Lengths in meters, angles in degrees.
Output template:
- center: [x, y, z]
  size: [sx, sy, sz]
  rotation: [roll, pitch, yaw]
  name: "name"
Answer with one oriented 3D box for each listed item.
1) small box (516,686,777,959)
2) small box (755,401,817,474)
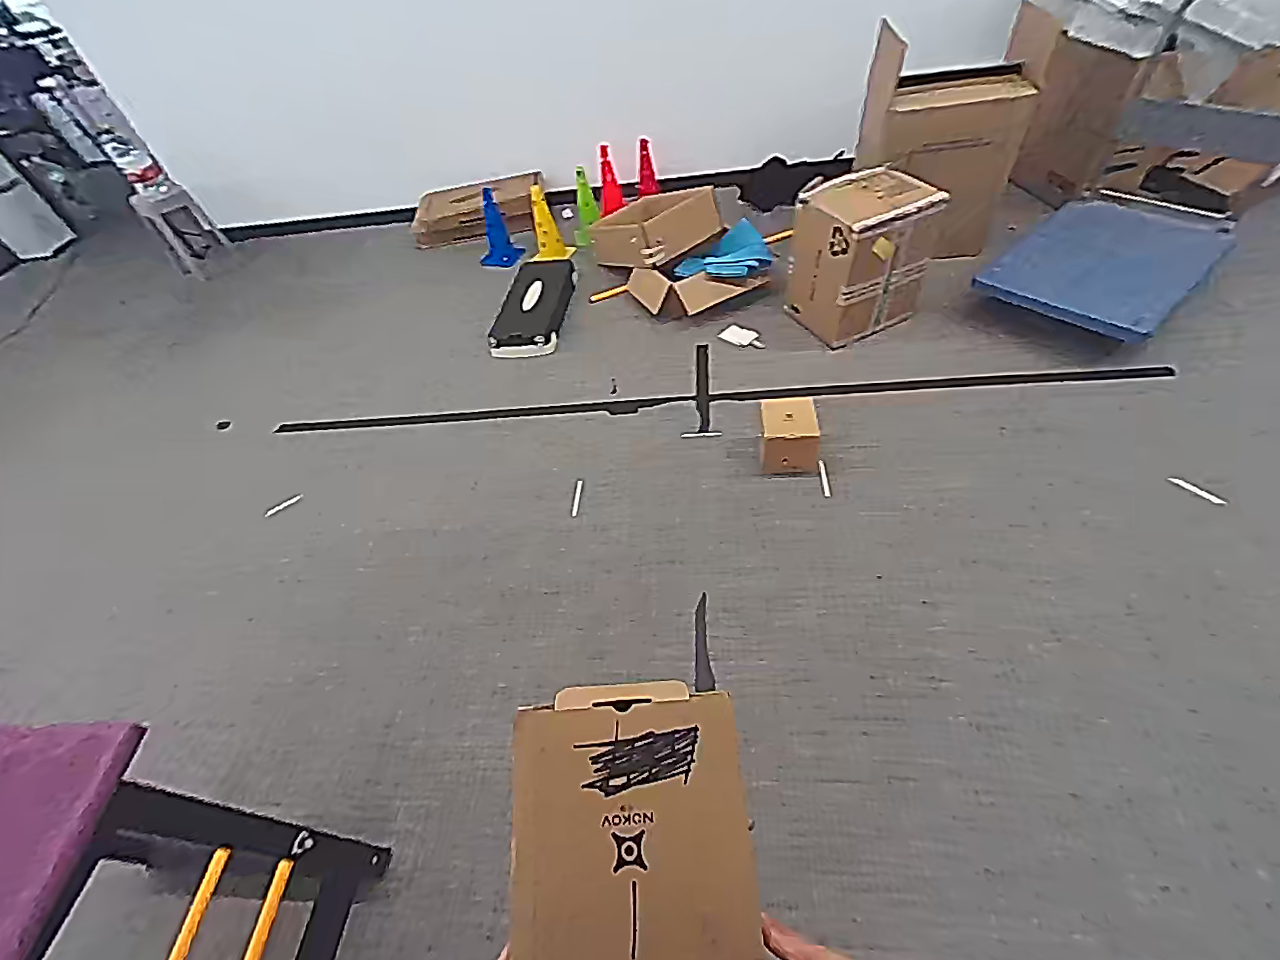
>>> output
- center: [0.000, 0.272, 0.438]
  size: [0.168, 0.176, 0.179]
  rotation: [-4, 65, -1]
  name: "small box"
- center: [0.467, -0.137, 1.753]
  size: [0.168, 0.176, 0.179]
  rotation: [-2, 50, 7]
  name: "small box"
